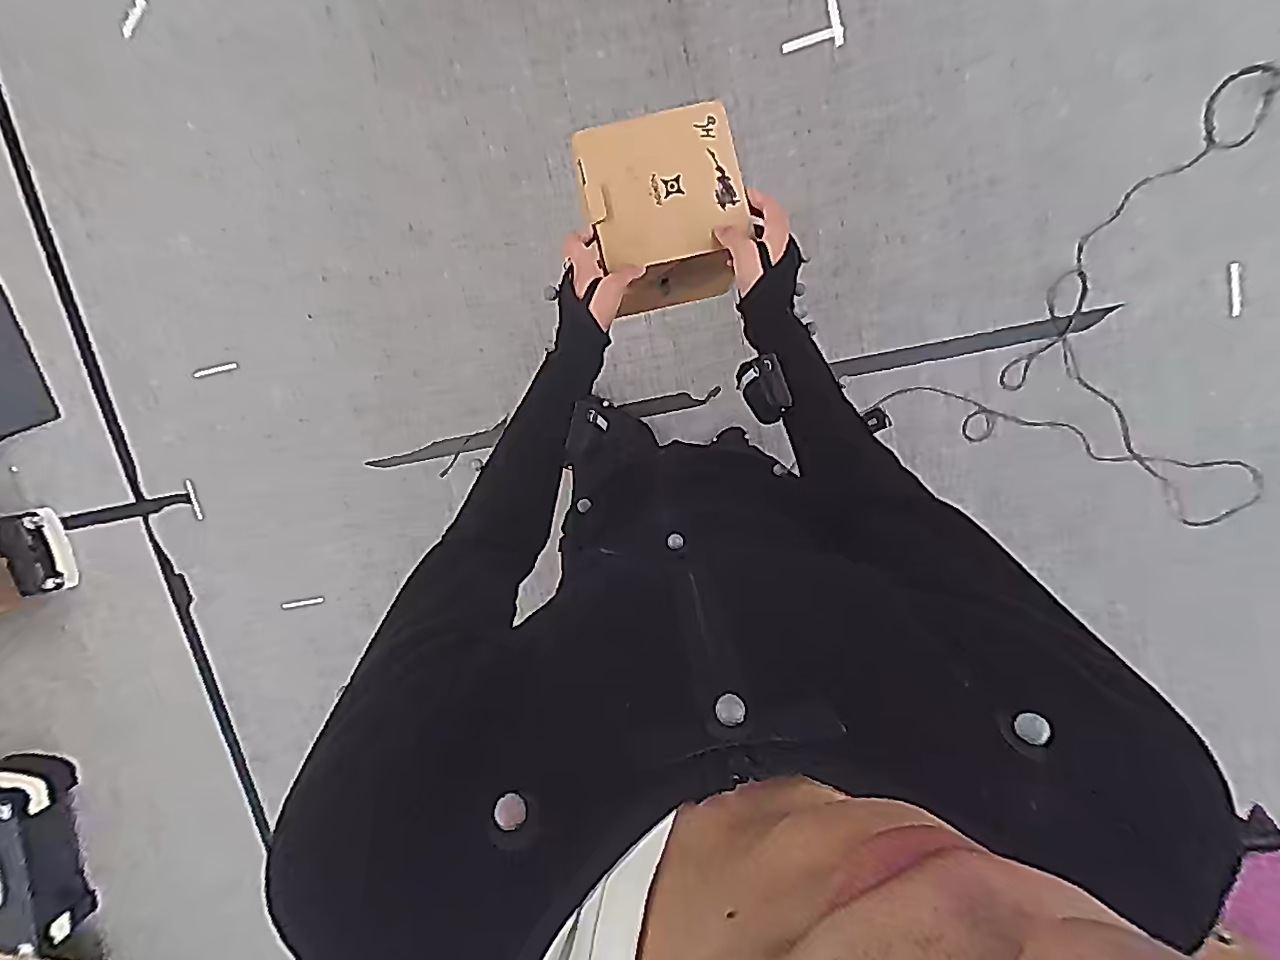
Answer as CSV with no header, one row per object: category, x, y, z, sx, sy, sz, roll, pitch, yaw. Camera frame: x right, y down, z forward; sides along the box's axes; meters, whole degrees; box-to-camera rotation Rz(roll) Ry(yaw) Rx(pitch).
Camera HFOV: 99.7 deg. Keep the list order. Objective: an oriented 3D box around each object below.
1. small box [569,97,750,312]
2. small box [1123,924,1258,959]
small box,0.021,-0.326,0.676,0.179,0.176,0.168,-13,91,-1
small box,0.939,0.870,0.881,0.168,0.176,0.179,-13,100,8
